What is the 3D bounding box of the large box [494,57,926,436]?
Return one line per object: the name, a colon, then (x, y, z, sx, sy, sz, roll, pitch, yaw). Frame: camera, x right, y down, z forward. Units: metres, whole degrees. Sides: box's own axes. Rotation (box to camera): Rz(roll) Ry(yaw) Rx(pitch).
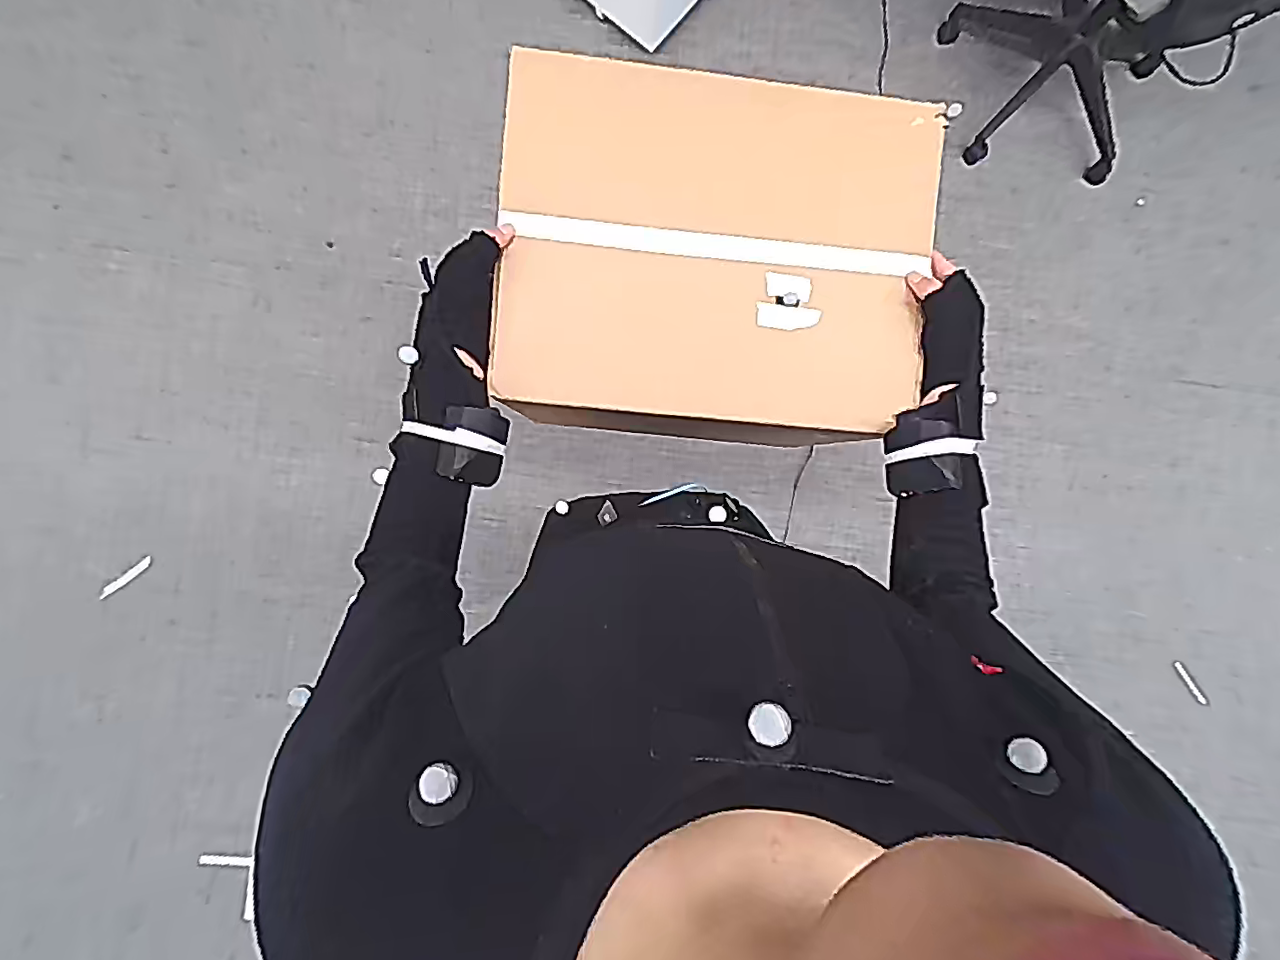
large box: (0.057, -0.228, 0.661, 0.408, 0.320, 0.320, 5, 93, -5)
